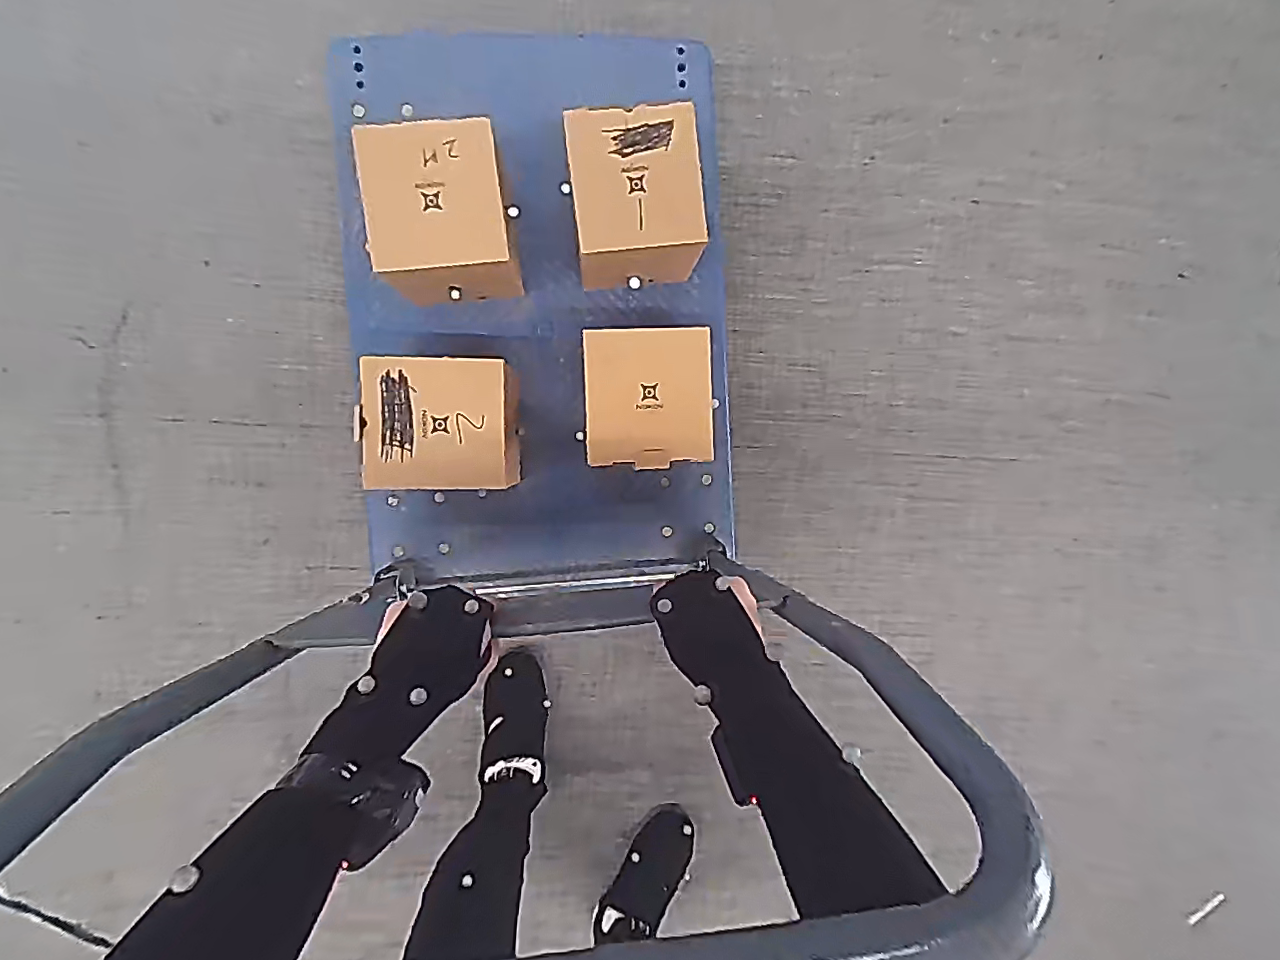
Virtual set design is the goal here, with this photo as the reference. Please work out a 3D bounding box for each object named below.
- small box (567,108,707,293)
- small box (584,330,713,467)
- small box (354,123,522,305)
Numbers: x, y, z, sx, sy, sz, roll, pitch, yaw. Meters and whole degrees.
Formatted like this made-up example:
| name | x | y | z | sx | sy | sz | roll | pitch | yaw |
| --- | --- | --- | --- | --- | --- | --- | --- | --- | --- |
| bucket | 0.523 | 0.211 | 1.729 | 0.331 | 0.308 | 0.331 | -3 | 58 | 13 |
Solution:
| name | x | y | z | sx | sy | sz | roll | pitch | yaw |
| --- | --- | --- | --- | --- | --- | --- | --- | --- | --- |
| small box | -0.010 | -0.378 | 0.756 | 0.168 | 0.176 | 0.179 | -7 | 95 | -4 |
| small box | 0.004 | -0.108 | 0.774 | 0.168 | 0.176 | 0.179 | -2 | 94 | -5 |
| small box | -0.259 | -0.345 | 0.735 | 0.168 | 0.176 | 0.179 | -7 | 94 | -6 |
